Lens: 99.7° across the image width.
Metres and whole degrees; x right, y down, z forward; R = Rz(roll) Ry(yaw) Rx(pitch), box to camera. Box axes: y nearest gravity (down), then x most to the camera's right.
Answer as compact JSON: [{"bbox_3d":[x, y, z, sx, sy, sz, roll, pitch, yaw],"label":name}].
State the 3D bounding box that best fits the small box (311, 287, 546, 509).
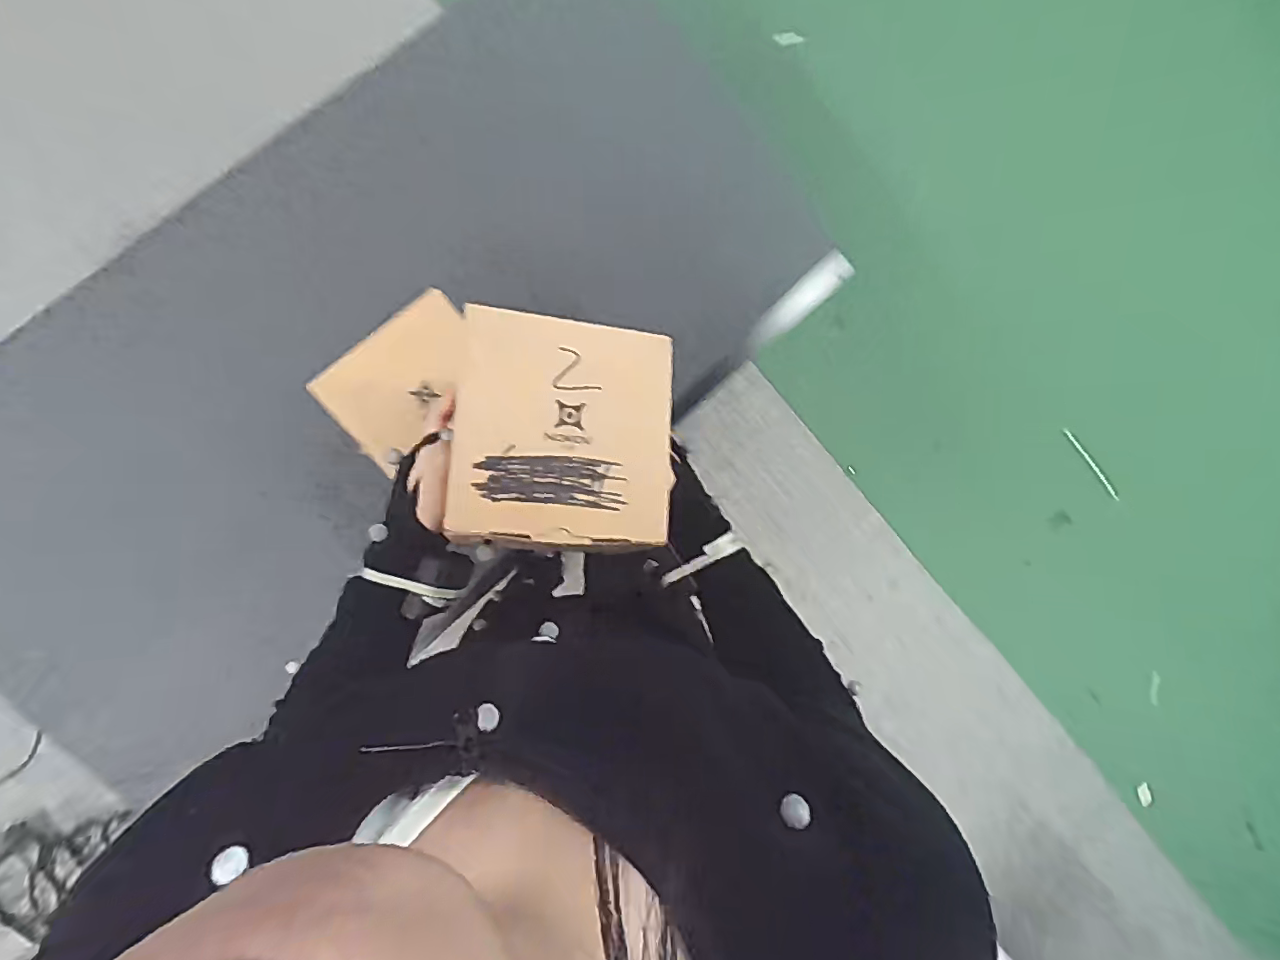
[{"bbox_3d":[-0.229,-0.086,0.638,0.168,0.176,0.179,-41,98,-5],"label":"small box"}]
